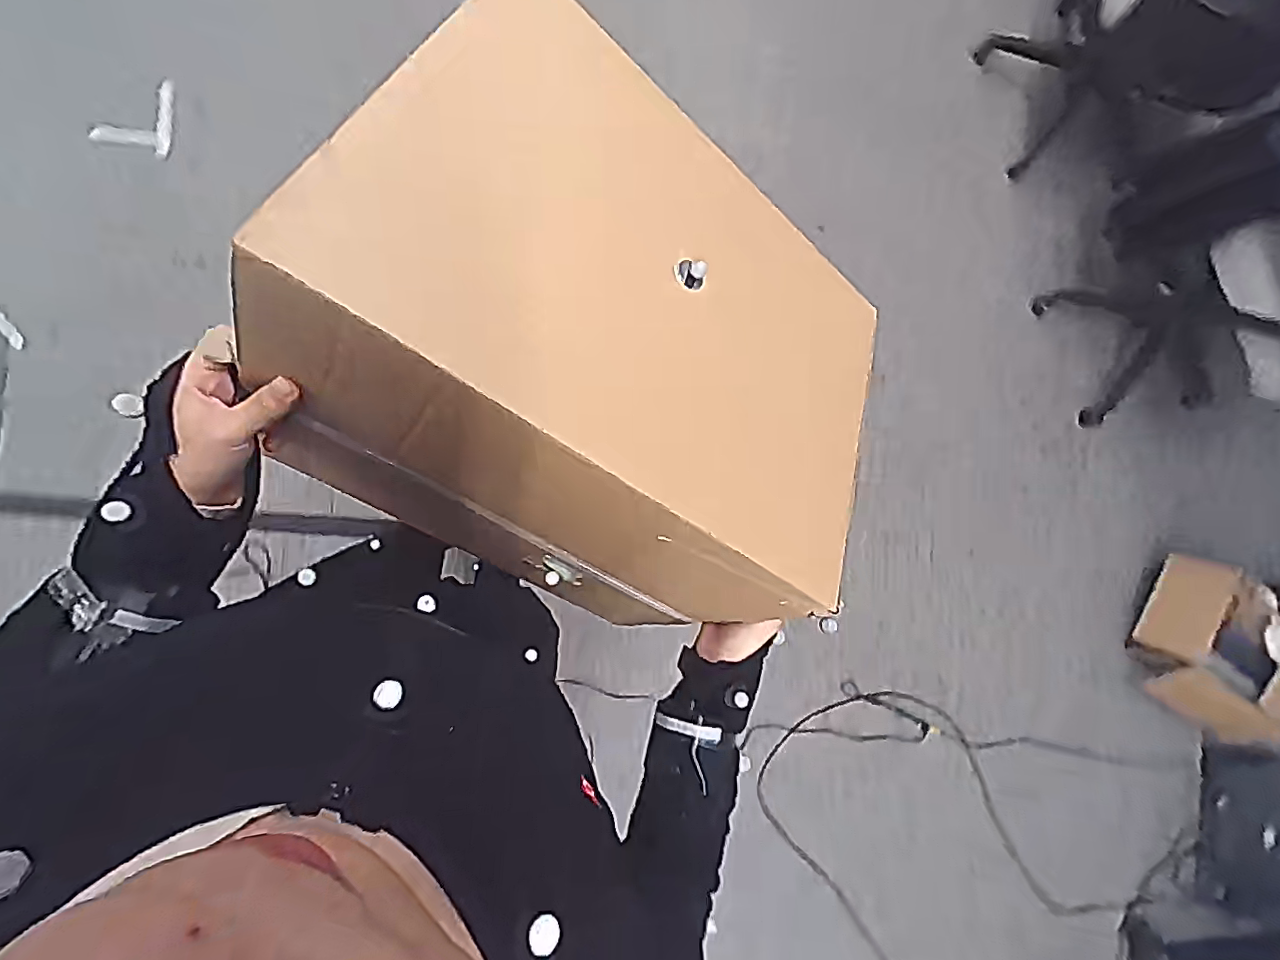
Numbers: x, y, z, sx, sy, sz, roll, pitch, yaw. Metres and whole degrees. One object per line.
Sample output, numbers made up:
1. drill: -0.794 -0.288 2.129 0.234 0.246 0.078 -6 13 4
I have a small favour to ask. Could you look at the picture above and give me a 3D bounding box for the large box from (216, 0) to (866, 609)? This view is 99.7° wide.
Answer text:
1. large box: -0.061 -0.108 0.489 0.408 0.320 0.320 30 63 -23
